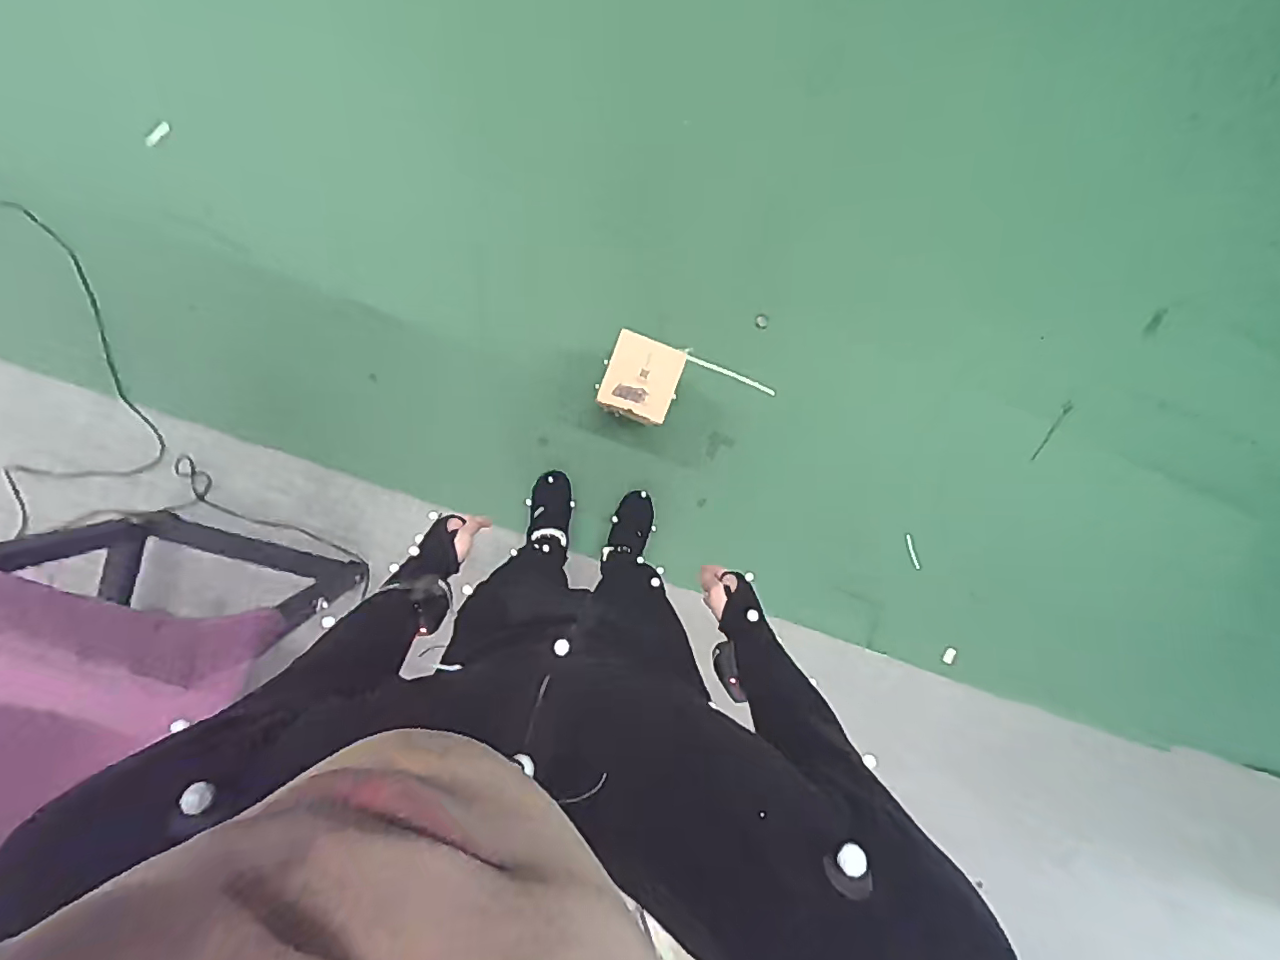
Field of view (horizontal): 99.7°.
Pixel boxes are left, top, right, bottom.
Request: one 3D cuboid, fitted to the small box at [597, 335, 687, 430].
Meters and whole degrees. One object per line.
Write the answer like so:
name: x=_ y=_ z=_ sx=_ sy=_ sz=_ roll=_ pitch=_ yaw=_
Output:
small box: x=0.000 y=-0.230 z=1.324 sx=0.168 sy=0.176 sz=0.179 roll=20 pitch=93 yaw=-7
